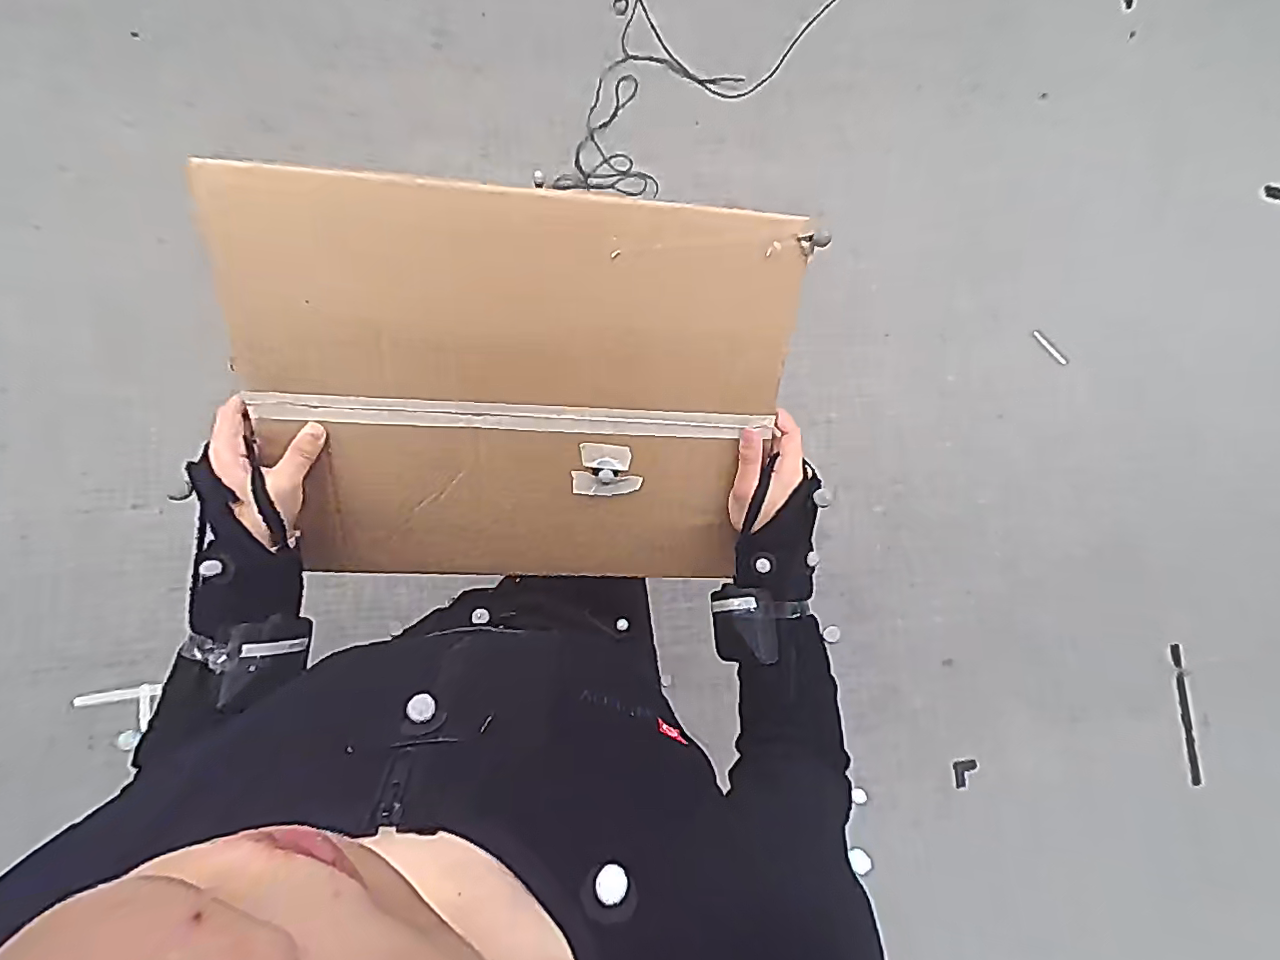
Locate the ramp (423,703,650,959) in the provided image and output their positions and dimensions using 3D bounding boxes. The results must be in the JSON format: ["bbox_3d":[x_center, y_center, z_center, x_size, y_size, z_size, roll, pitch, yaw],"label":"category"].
[{"bbox_3d":[-0.222,1.053,1.190,0.509,0.206,0.991,-6,83,-8],"label":"ramp"}]

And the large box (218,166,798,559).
[{"bbox_3d":[-0.107,-0.132,0.572,0.408,0.320,0.320,1,118,-8],"label":"large box"}]
